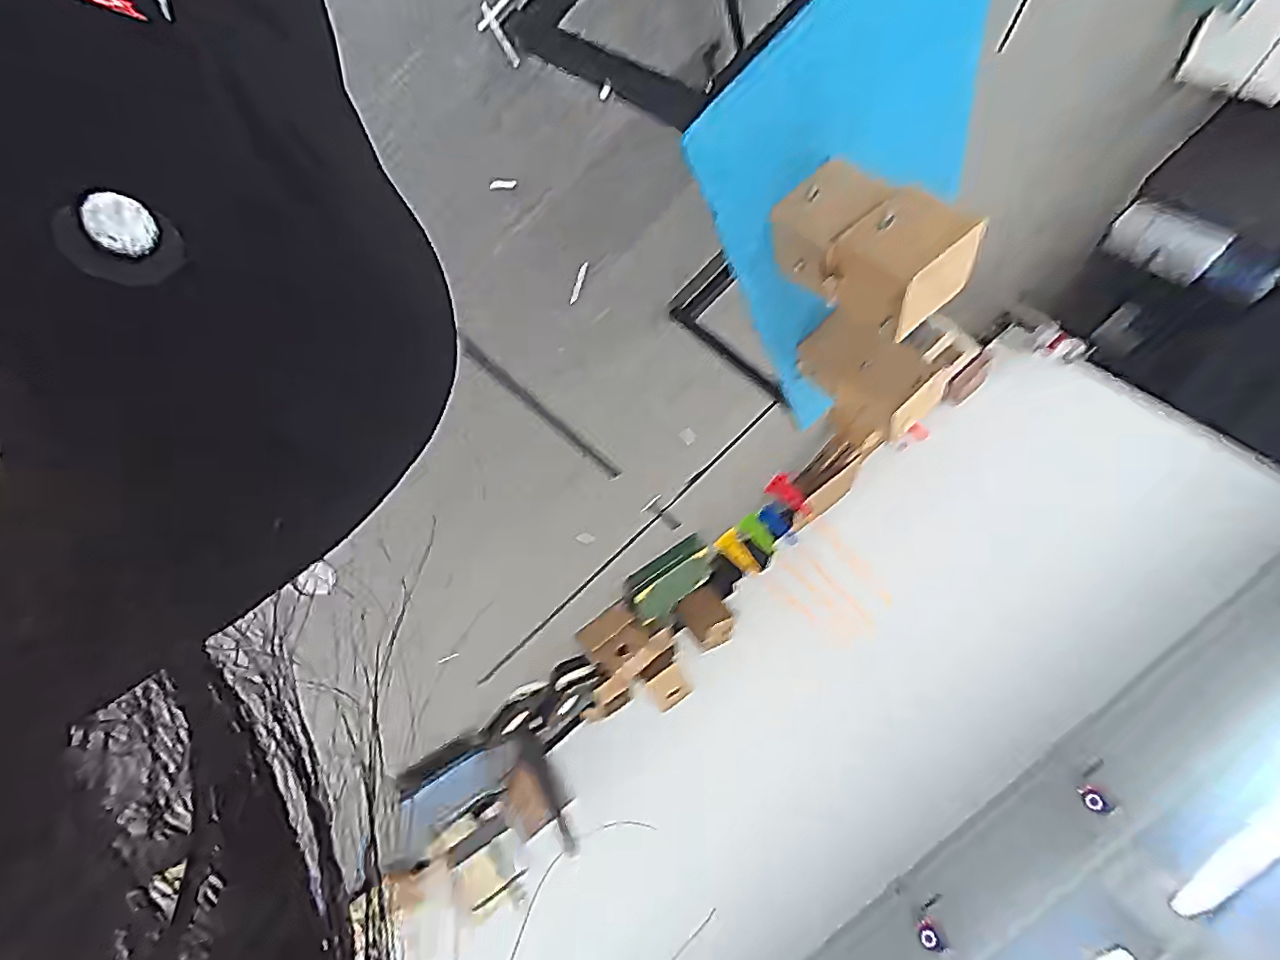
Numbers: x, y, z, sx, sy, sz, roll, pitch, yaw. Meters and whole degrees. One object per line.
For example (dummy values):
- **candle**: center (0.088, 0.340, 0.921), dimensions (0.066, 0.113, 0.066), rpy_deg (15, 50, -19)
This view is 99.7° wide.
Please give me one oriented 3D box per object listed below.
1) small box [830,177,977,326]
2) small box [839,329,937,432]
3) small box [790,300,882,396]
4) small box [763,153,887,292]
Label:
- **small box**: center (0.484, -0.418, 1.015), dimensions (0.179, 0.176, 0.168), rpy_deg (-39, 151, -3)
- **small box**: center (0.658, -0.257, 1.436), dimensions (0.168, 0.176, 0.179), rpy_deg (-46, 148, 2)
- **small box**: center (0.555, -0.359, 1.512), dimensions (0.179, 0.176, 0.168), rpy_deg (-46, 150, 4)
- **small box**: center (0.382, -0.514, 1.104), dimensions (0.179, 0.176, 0.168), rpy_deg (-42, 151, 0)
